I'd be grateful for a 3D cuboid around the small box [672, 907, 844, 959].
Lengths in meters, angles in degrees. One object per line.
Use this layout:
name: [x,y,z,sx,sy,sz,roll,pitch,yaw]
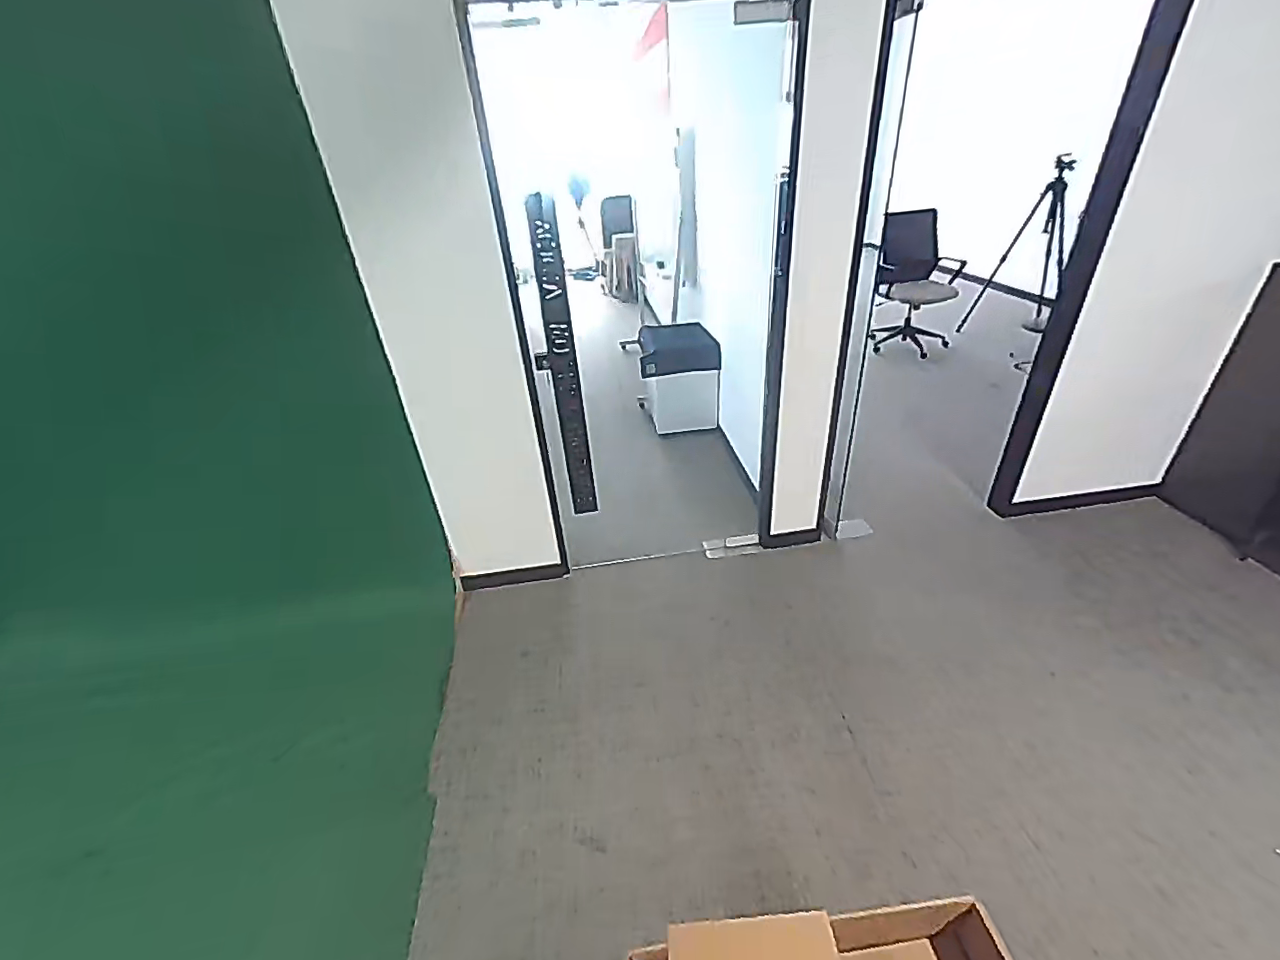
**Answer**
small box: [0.118,0.552,0.521,0.168,0.176,0.179,-4,35,0]
